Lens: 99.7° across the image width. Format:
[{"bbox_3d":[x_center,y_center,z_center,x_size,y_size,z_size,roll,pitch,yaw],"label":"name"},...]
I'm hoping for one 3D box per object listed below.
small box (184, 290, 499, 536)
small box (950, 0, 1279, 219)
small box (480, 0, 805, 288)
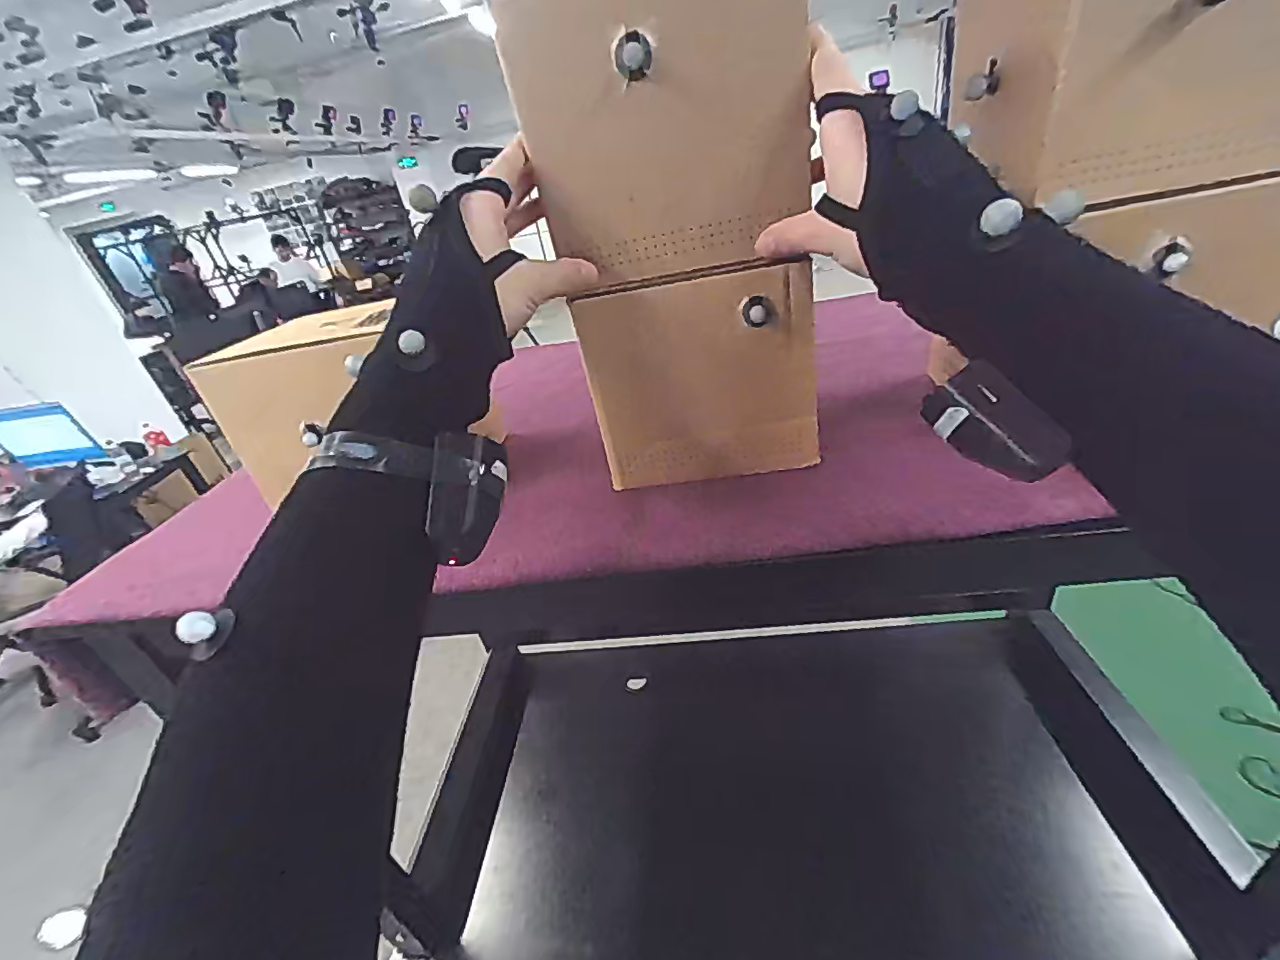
[{"bbox_3d":[-0.256,-0.066,0.520,0.179,0.176,0.168,-9,29,8],"label":"small box"},{"bbox_3d":[0.319,-0.280,0.347,0.179,0.176,0.168,-7,31,12],"label":"small box"},{"bbox_3d":[0.017,-0.253,0.392,0.179,0.176,0.168,-7,37,10],"label":"small box"}]
